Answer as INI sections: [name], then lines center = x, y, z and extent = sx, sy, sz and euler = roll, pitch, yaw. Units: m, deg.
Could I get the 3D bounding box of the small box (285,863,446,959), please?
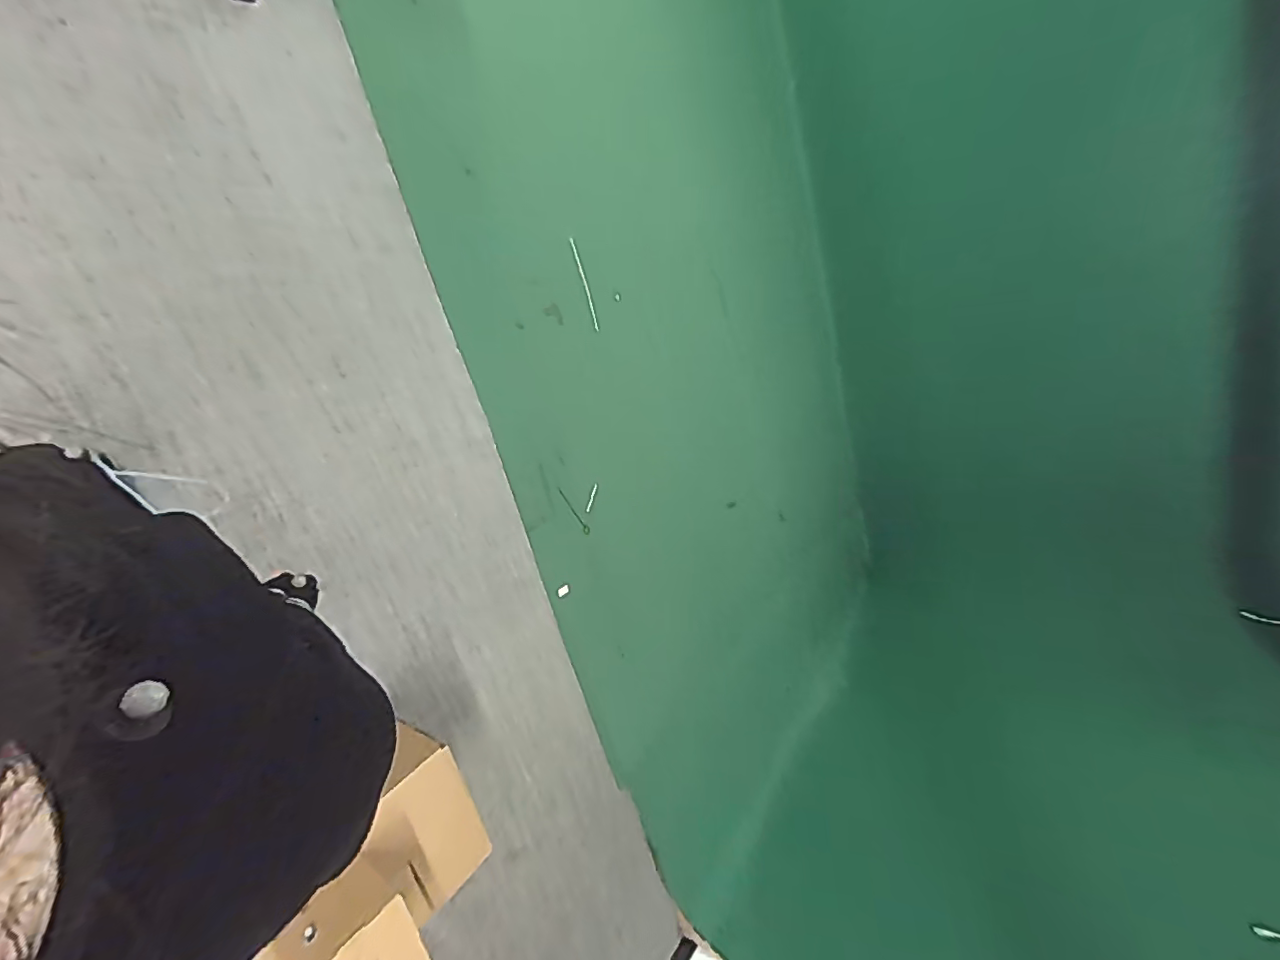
[small box]
center = -0.473, 0.807, 0.931
extent = 0.168, 0.176, 0.179
euler = -29, 111, -47
